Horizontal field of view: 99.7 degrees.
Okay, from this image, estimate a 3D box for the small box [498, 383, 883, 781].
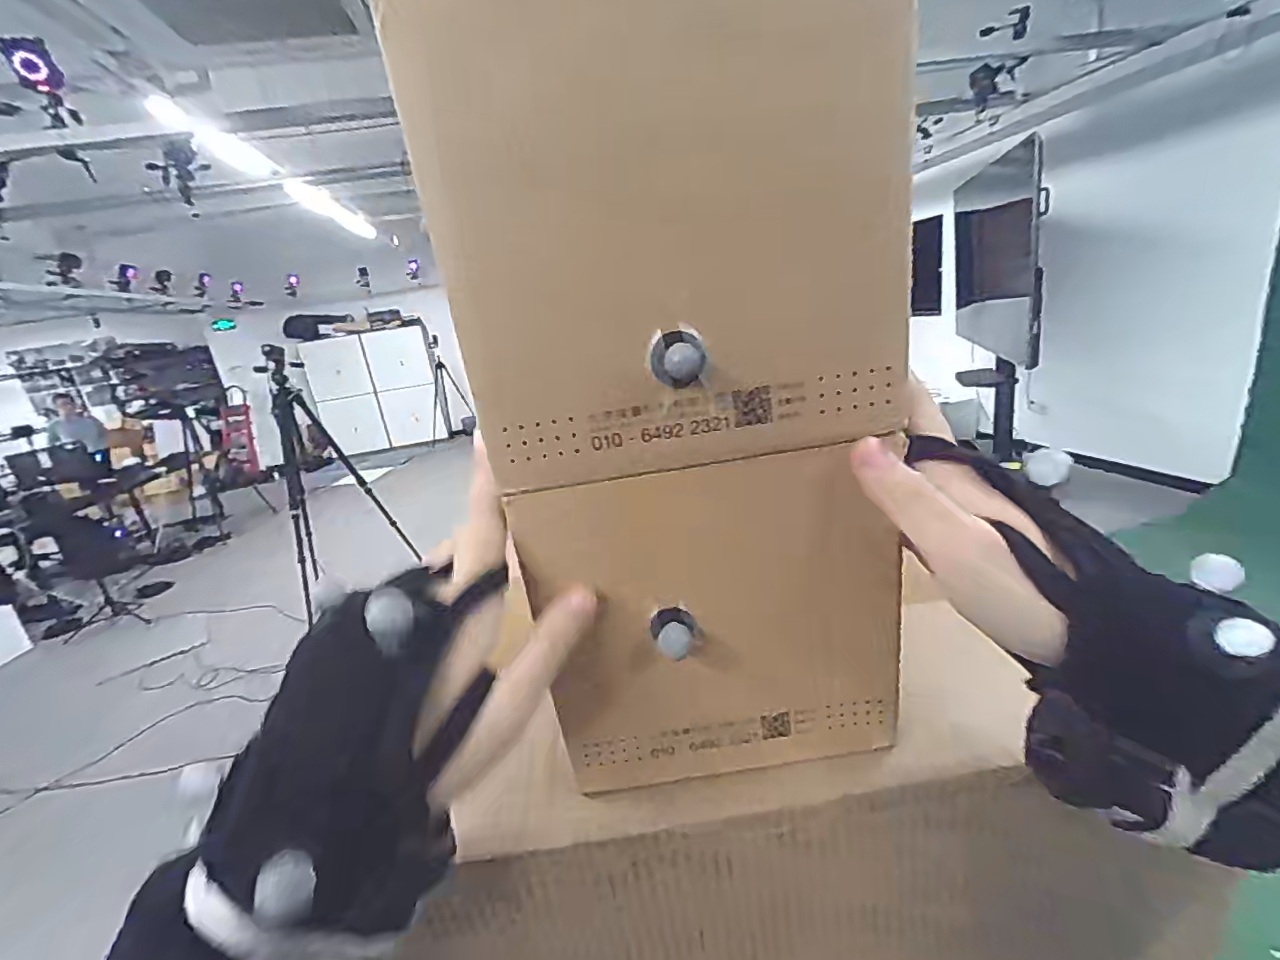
[{"bbox_3d":[0.030,0.051,0.325,0.168,0.176,0.179,-9,19,0],"label":"small box"}]
